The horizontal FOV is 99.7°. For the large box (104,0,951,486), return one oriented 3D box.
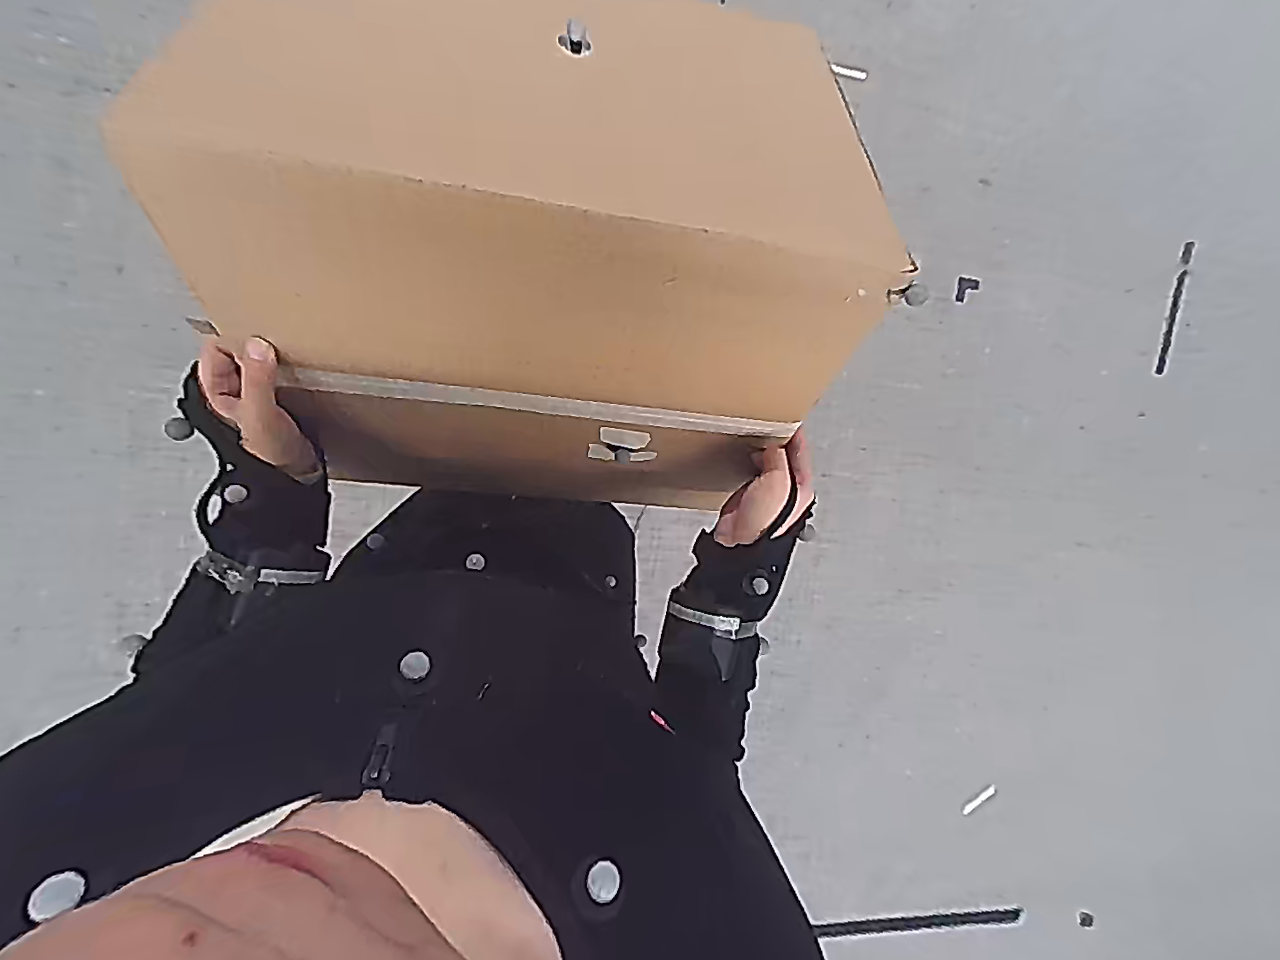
[{"bbox_3d":[-0.061,-0.212,0.453,0.408,0.320,0.320,4,61,-11],"label":"large box"}]
